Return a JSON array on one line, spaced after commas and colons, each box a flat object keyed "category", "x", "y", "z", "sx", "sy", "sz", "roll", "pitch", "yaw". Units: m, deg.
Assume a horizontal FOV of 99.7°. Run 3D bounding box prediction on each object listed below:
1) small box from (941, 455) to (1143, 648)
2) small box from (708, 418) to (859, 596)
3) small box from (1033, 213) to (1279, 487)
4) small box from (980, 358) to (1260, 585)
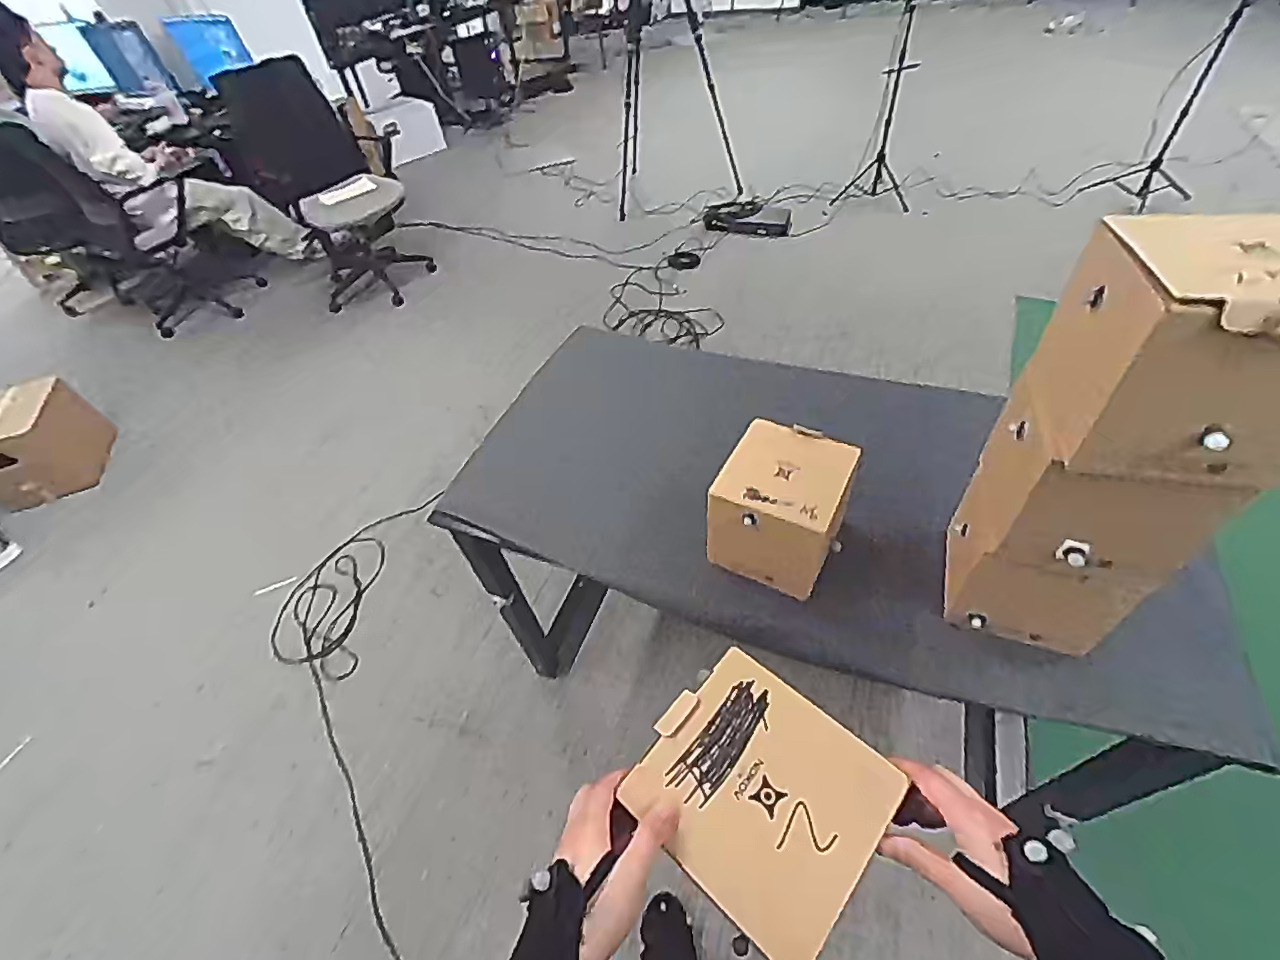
[{"category": "small box", "x": 0.521, "y": 0.096, "z": 0.727, "sx": 0.168, "sy": 0.176, "sz": 0.179, "roll": 13, "pitch": 49, "yaw": 19}, {"category": "small box", "x": 0.210, "y": 0.040, "z": 0.819, "sx": 0.168, "sy": 0.176, "sz": 0.179, "roll": 20, "pitch": 51, "yaw": 25}, {"category": "small box", "x": 0.486, "y": -0.119, "z": 0.482, "sx": 0.168, "sy": 0.176, "sz": 0.179, "roll": 6, "pitch": 47, "yaw": 16}, {"category": "small box", "x": 0.503, "y": -0.012, "z": 0.607, "sx": 0.168, "sy": 0.176, "sz": 0.179, "roll": 9, "pitch": 49, "yaw": 17}]
